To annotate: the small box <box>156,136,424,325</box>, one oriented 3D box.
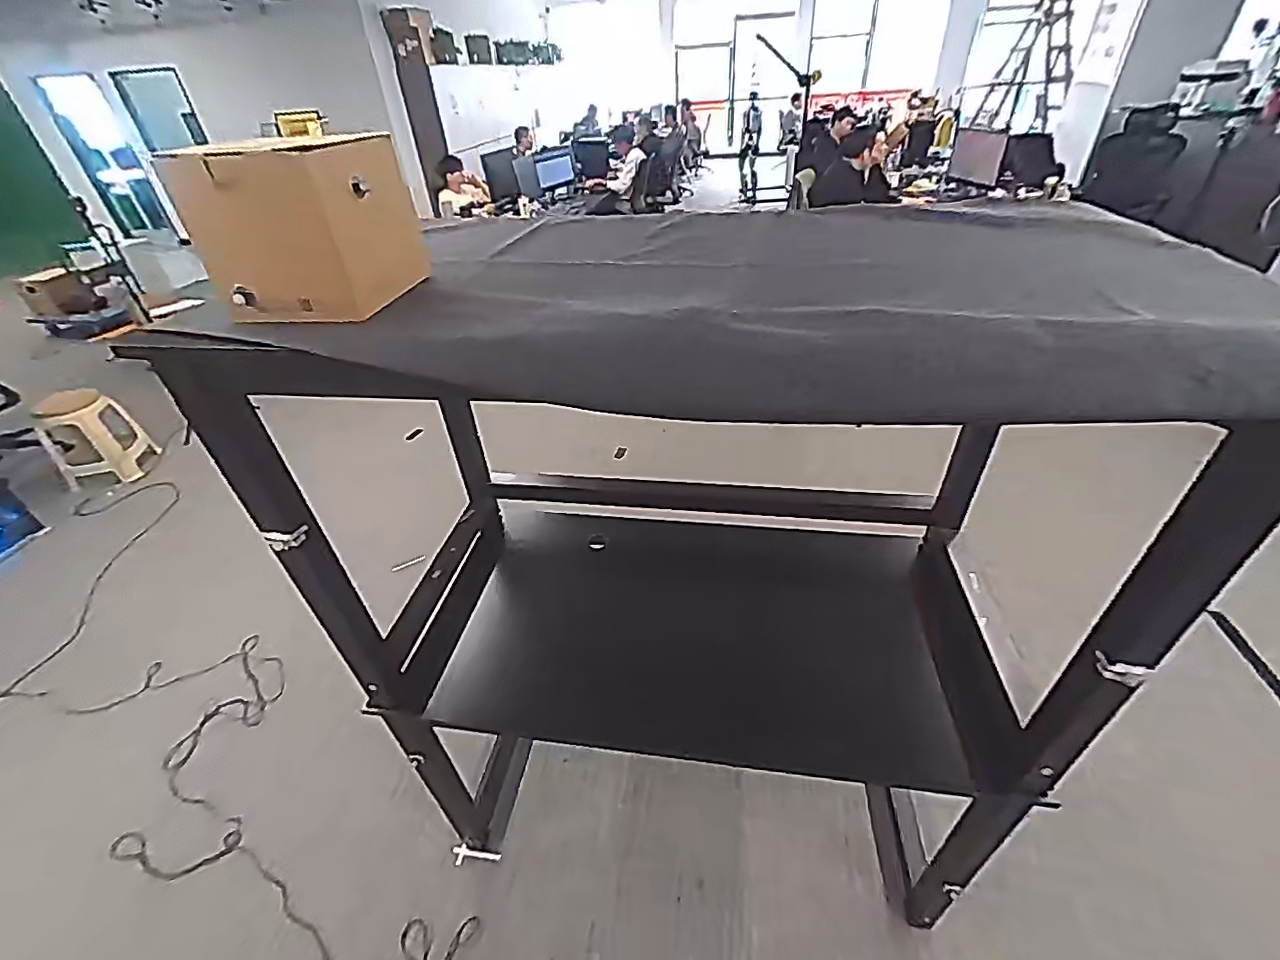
[{"bbox_3d":[-0.378,-0.288,0.628,0.168,0.176,0.179,2,37,8],"label":"small box"}]
